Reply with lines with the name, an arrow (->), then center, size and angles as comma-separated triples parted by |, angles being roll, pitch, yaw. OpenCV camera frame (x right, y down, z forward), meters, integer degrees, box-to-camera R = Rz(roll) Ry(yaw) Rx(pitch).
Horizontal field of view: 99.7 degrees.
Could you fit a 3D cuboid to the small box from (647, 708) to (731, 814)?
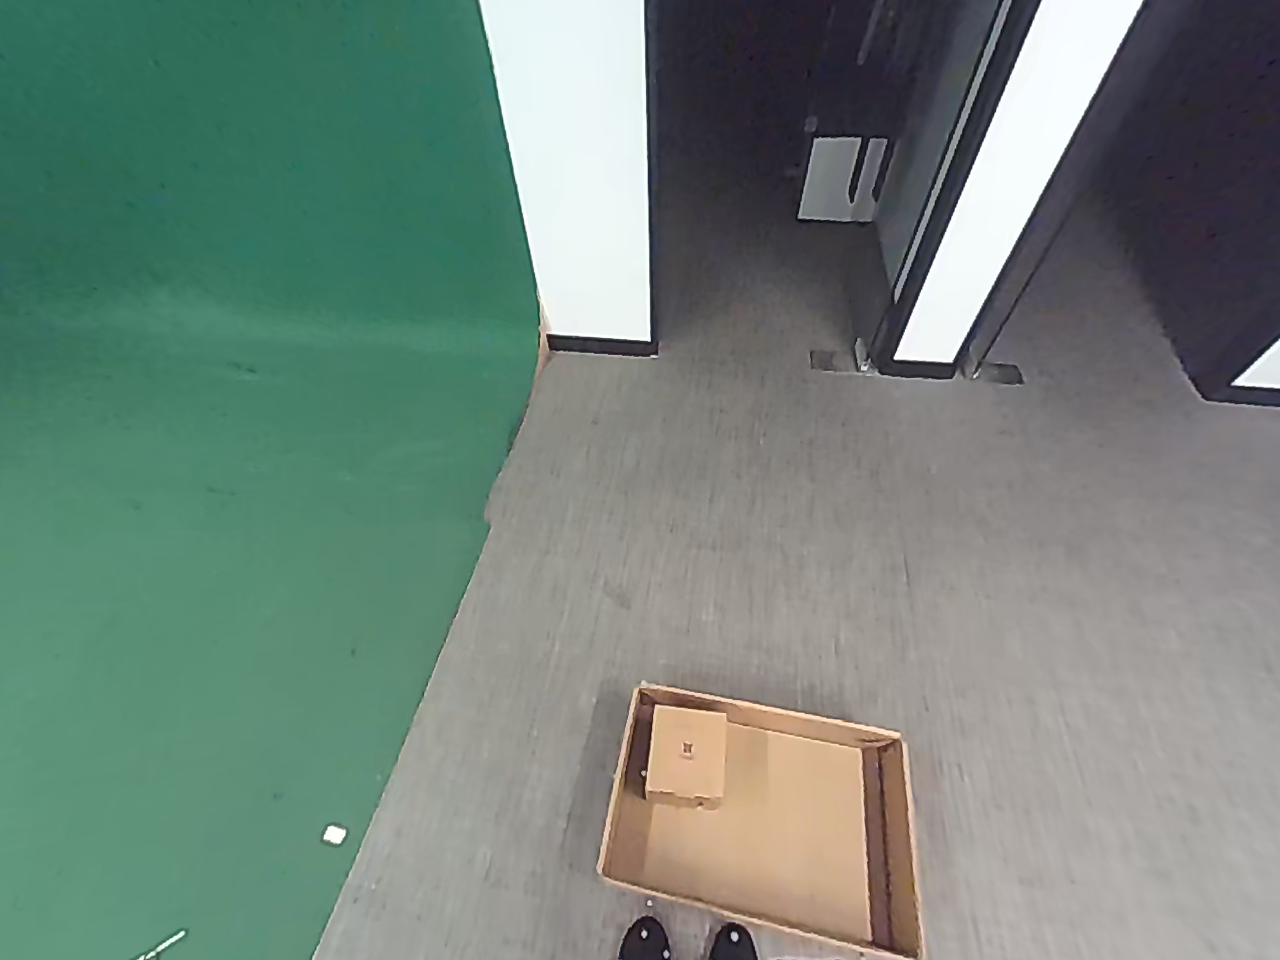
small box -> 0.113, 0.639, 1.221 | 0.168, 0.176, 0.179 | 5, 53, 7
